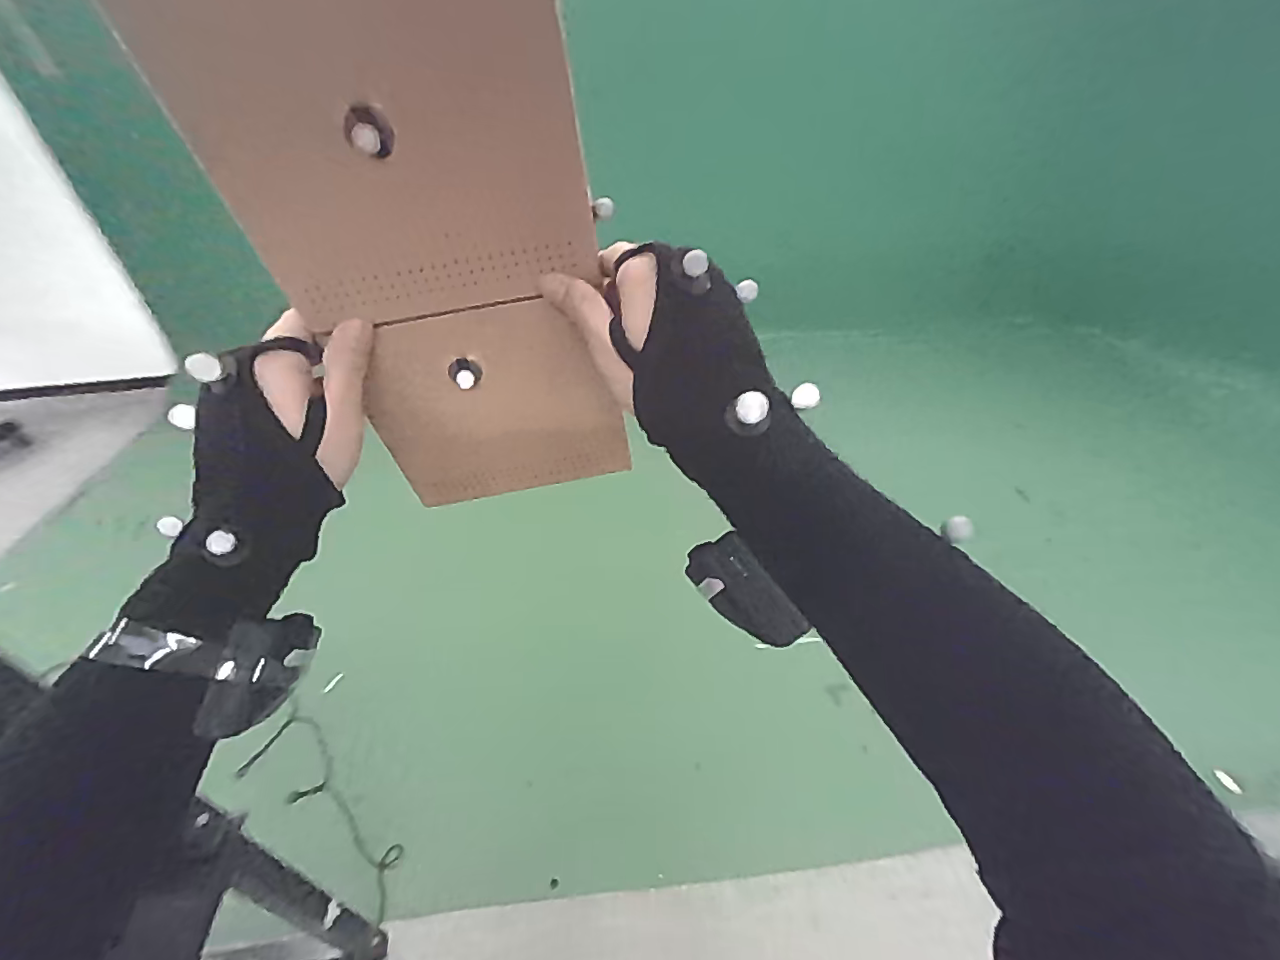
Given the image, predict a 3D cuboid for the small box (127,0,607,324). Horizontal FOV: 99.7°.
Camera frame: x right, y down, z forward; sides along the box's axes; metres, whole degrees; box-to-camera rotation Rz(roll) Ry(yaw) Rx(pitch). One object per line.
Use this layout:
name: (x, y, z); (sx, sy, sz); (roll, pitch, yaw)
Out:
small box: (-0.118, -0.215, 0.312); (0.179, 0.176, 0.168); (-11, 48, 0)
